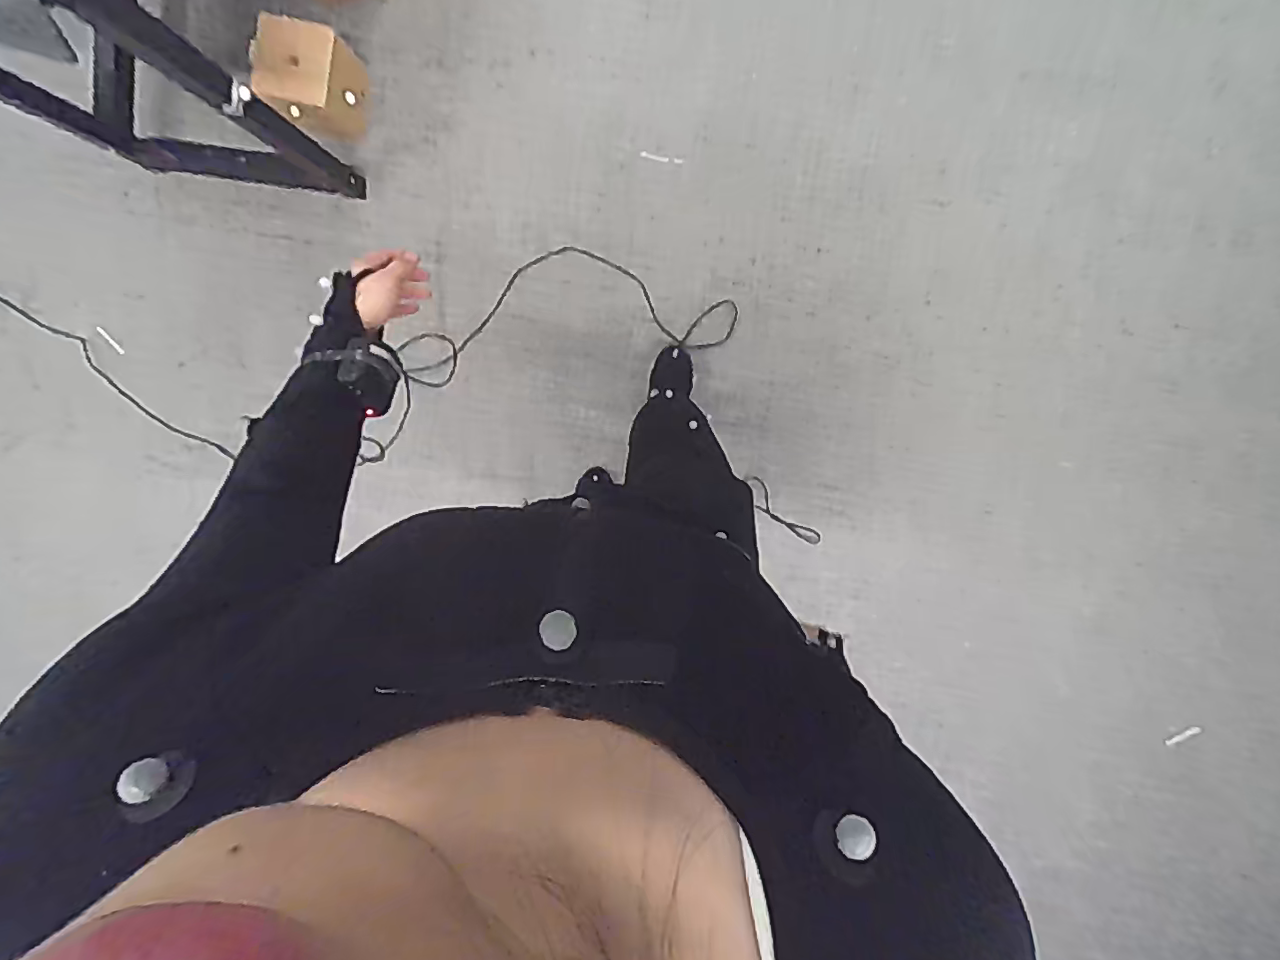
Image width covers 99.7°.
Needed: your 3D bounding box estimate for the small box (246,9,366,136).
[{"bbox_3d":[-0.776,-0.945,1.273,0.179,0.176,0.168,13,98,0],"label":"small box"}]
